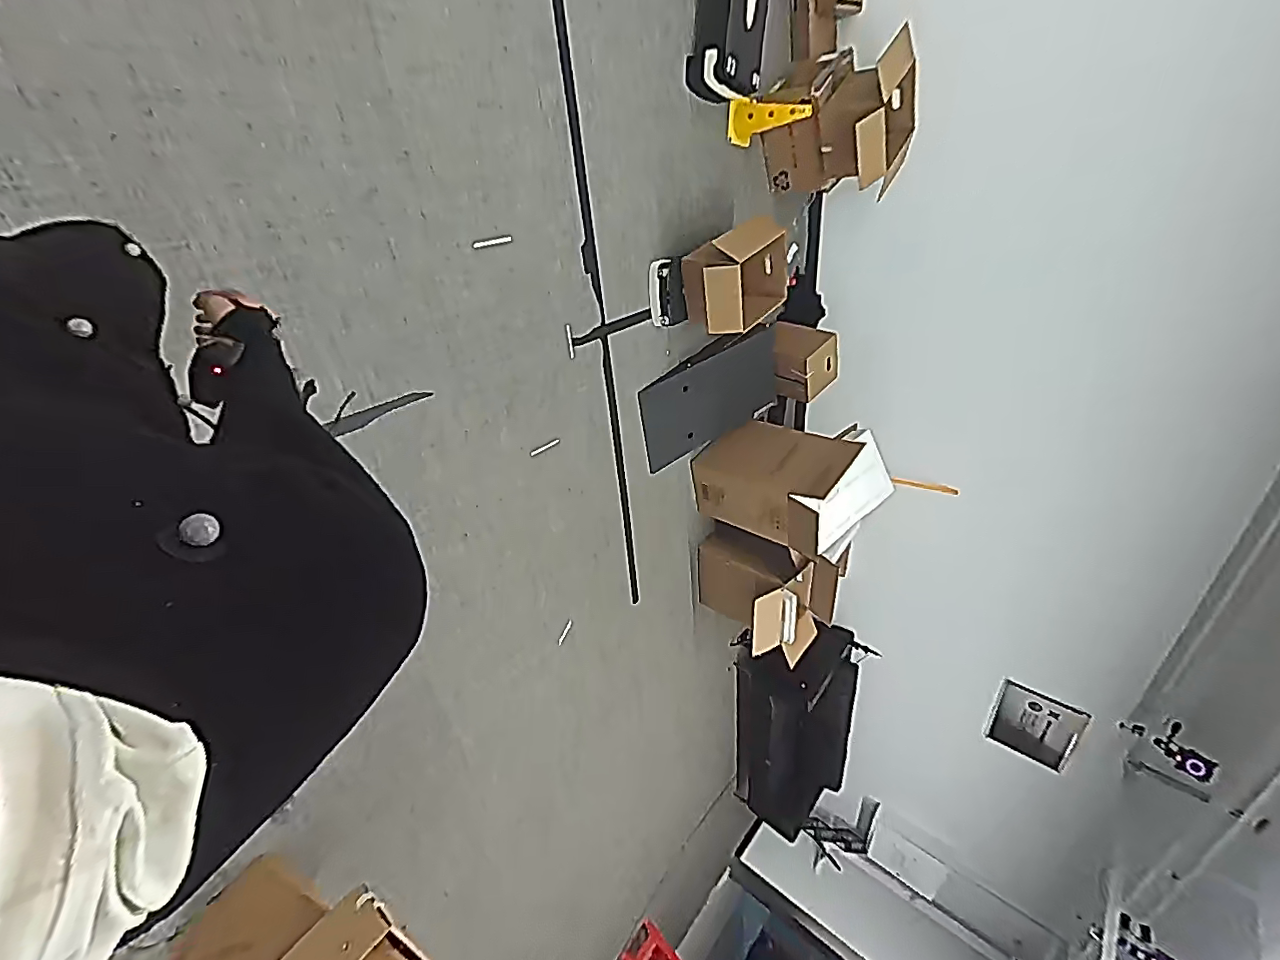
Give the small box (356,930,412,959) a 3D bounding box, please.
[{"bbox_3d":[-0.807,1.575,1.686,0.179,0.176,0.168,-40,136,-35],"label":"small box"}]
